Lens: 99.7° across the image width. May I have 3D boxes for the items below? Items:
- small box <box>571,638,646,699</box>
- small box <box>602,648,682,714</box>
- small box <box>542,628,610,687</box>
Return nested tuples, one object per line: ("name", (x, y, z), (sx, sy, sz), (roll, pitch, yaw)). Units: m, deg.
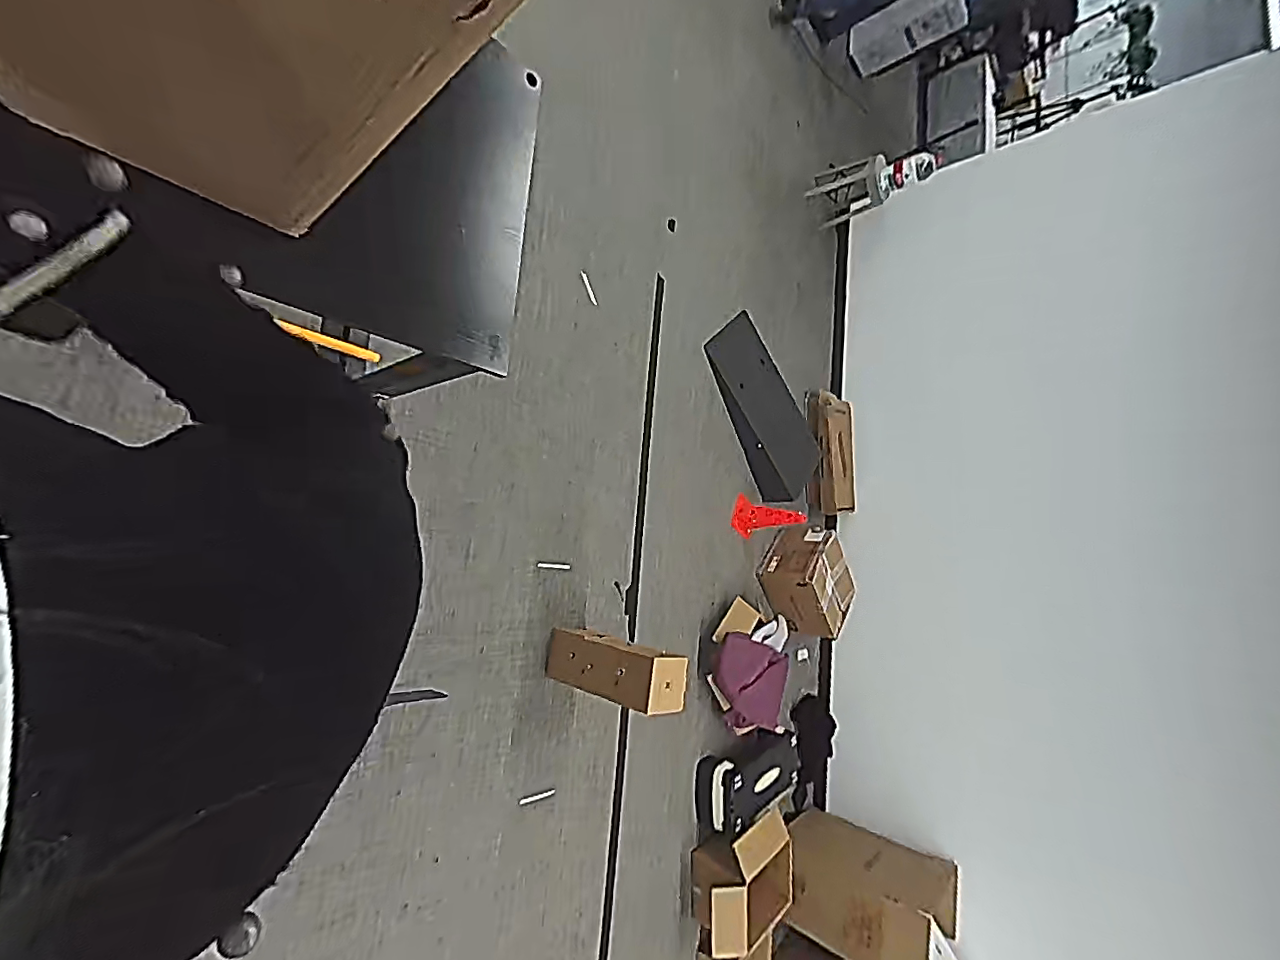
("small box", (-0.106, 0.636, 1.835), (0.179, 0.176, 0.168), (19, 75, -46))
("small box", (0.007, 0.631, 1.717), (0.179, 0.176, 0.168), (19, 74, -46))
("small box", (-0.232, 0.632, 1.941), (0.168, 0.176, 0.179), (19, 75, -46))
